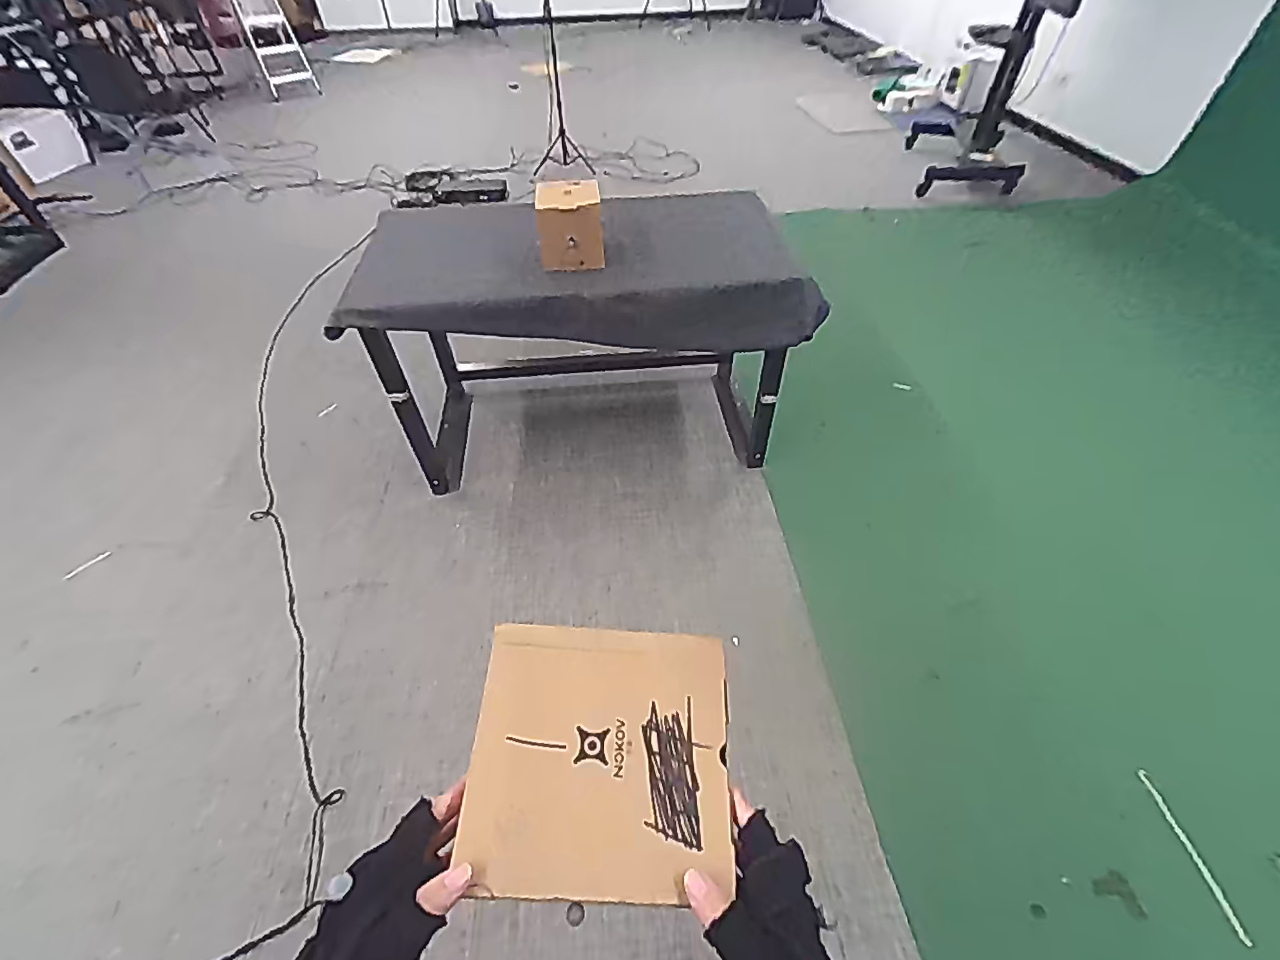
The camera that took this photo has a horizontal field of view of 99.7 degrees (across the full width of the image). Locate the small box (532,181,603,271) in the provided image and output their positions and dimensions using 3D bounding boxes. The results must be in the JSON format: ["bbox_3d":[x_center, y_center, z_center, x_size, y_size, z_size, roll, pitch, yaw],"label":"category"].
[{"bbox_3d":[-0.192,-0.678,1.455,0.168,0.176,0.179,-6,48,-3],"label":"small box"}]
